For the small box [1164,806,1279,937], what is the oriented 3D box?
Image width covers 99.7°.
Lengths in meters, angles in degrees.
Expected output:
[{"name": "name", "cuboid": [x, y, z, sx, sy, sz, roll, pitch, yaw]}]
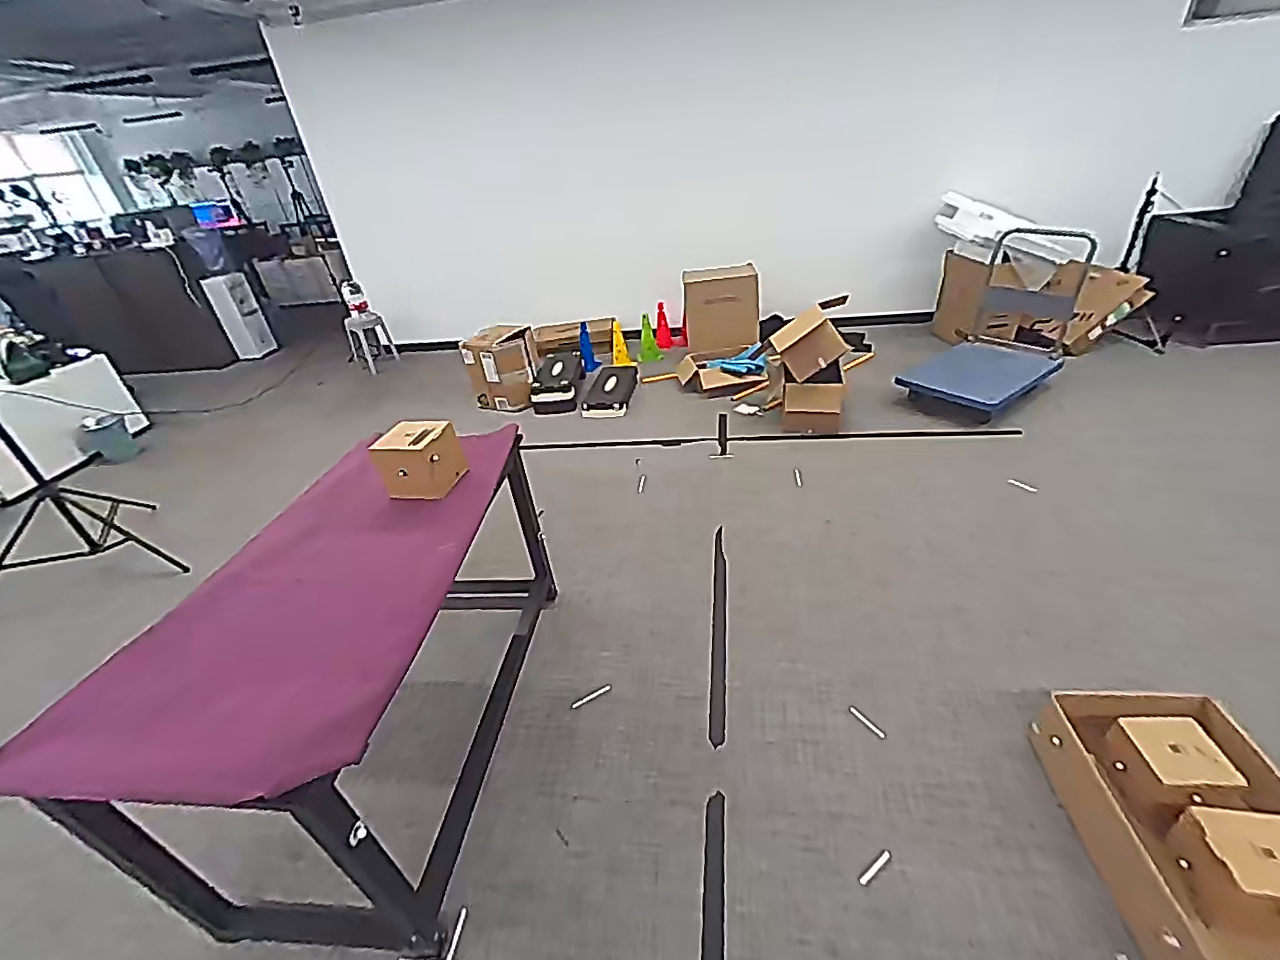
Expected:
[{"name": "small box", "cuboid": [1.277, 0.823, 1.136, 0.179, 0.176, 0.168, 1, 32, 13]}]

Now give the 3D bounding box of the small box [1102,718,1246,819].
[{"name": "small box", "cuboid": [1.279, 0.704, 1.318, 0.179, 0.176, 0.168, -3, 34, 6]}]
